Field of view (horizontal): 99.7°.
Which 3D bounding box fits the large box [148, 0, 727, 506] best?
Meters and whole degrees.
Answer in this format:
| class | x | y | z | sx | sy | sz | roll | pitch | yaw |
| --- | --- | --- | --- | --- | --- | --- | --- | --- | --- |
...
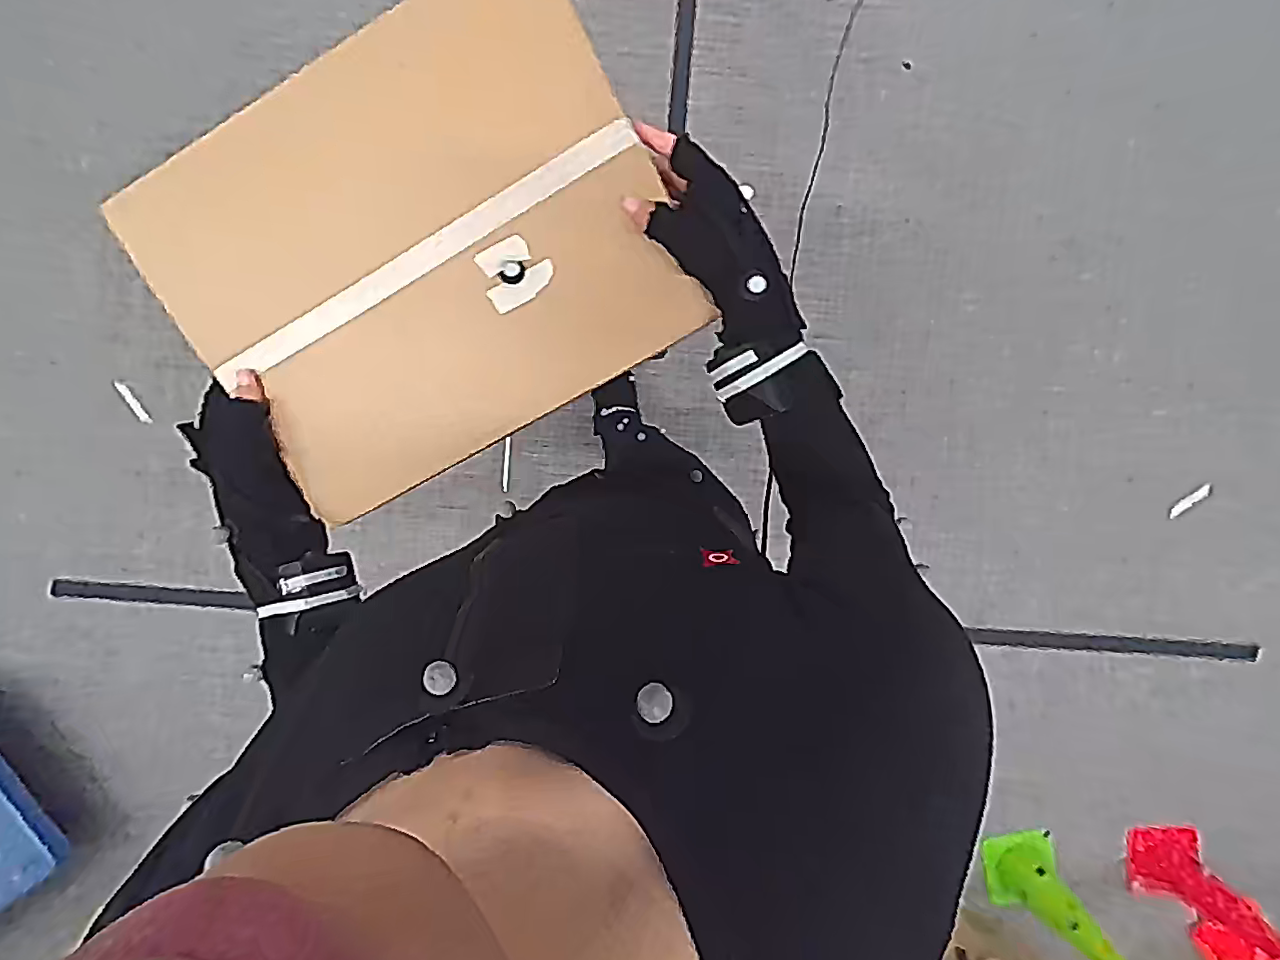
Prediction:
| class | x | y | z | sx | sy | sz | roll | pitch | yaw |
| --- | --- | --- | --- | --- | --- | --- | --- | --- | --- |
| large box | -0.167 | -0.226 | 0.599 | 0.408 | 0.320 | 0.320 | -27 | 103 | 6 |
